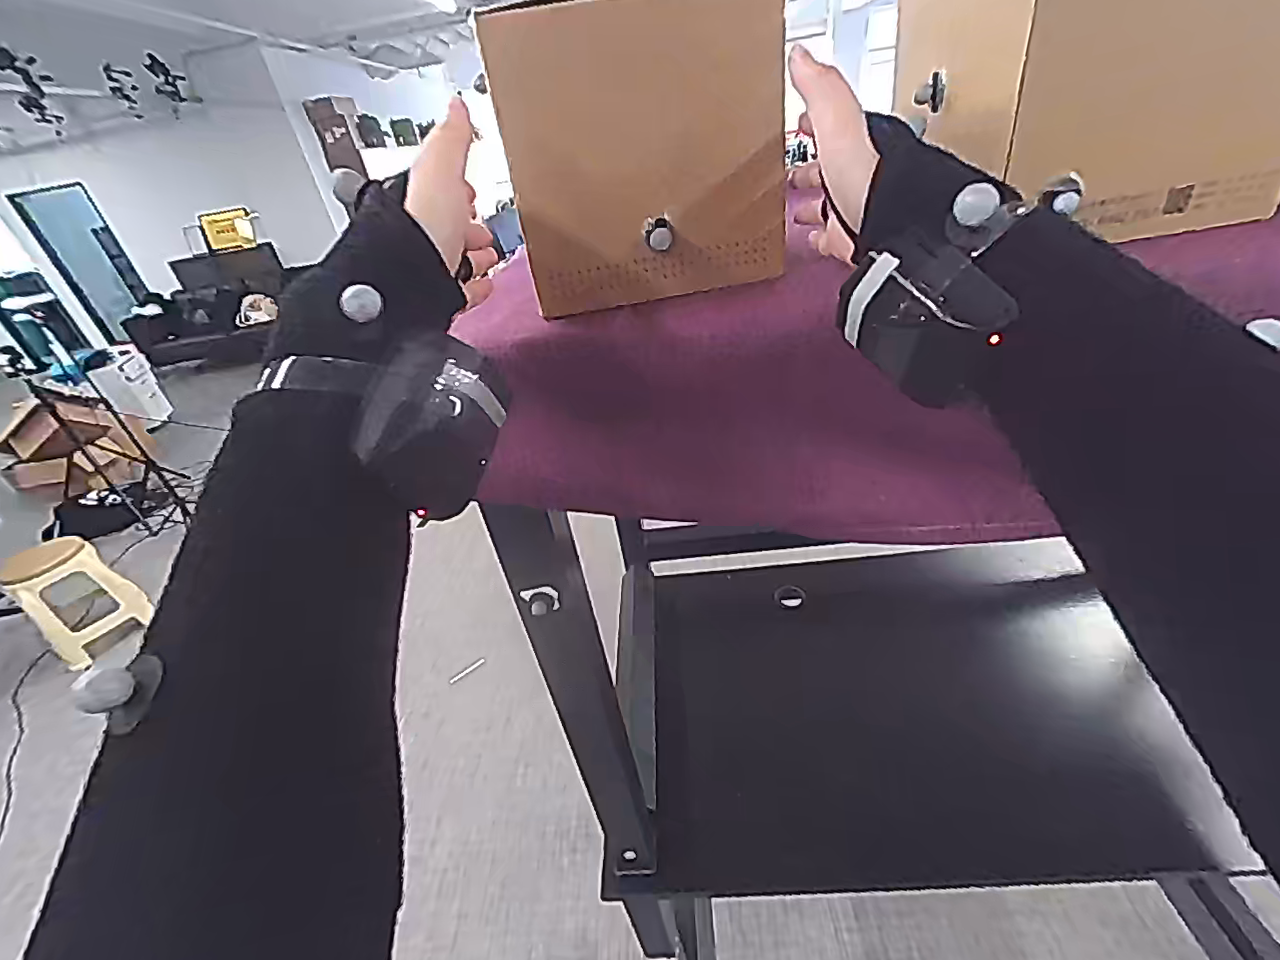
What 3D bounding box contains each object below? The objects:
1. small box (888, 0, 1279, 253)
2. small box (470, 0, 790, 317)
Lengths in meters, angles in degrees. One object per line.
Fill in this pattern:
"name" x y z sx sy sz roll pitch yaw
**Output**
"small box" 0.281 -0.255 0.352 0.168 0.176 0.179 -8 31 3
"small box" -0.005 -0.232 0.394 0.179 0.176 0.168 -11 31 -4
